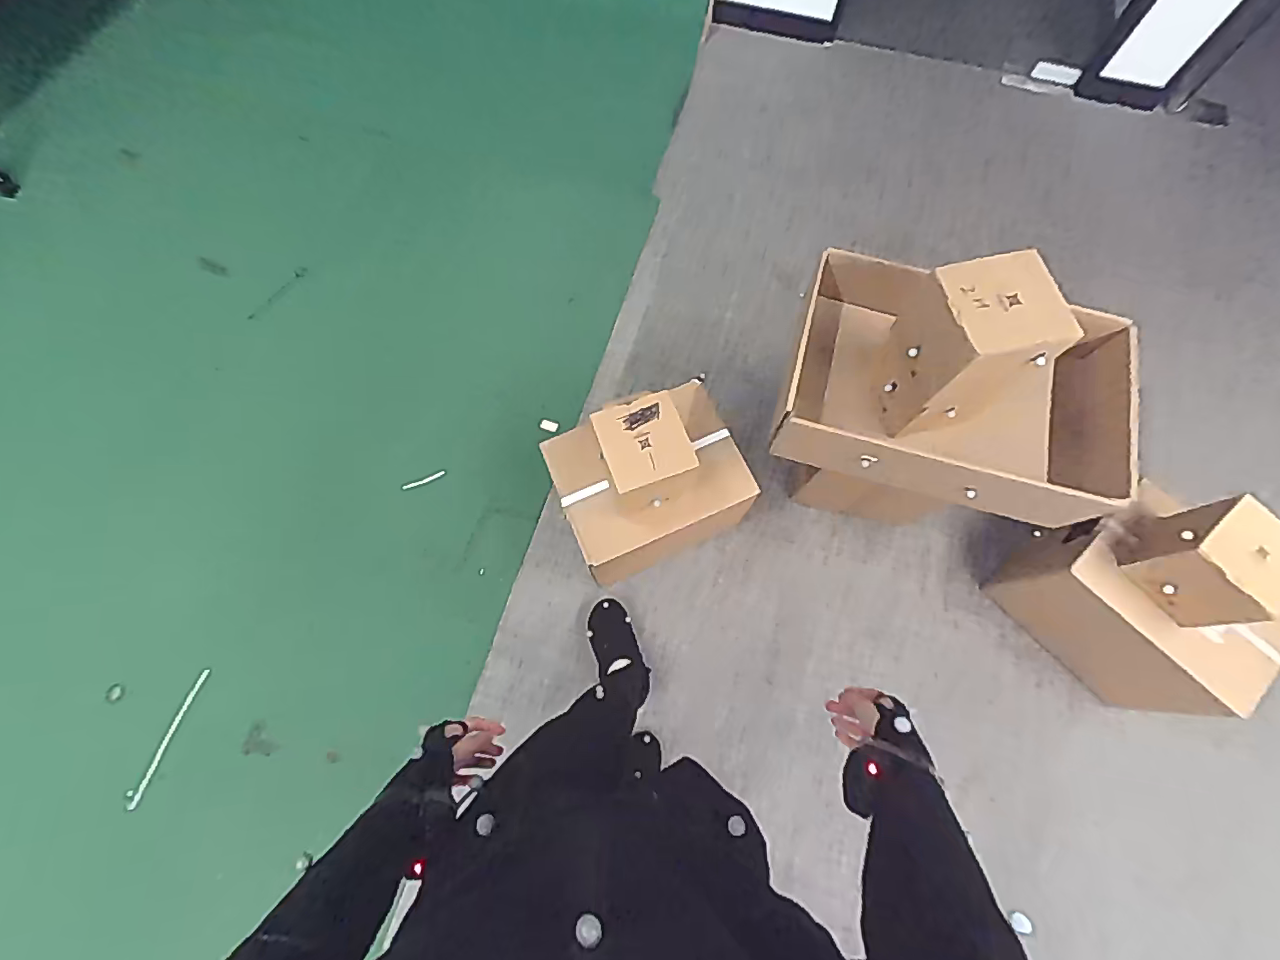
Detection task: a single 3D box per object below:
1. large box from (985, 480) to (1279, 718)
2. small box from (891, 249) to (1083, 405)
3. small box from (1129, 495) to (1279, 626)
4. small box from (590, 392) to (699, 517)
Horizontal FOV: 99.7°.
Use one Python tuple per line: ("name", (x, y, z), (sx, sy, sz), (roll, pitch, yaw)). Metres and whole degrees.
("large box", (1.136, 0.276, 1.259), (0.320, 0.320, 0.408), (-41, 78, -13))
("small box", (0.552, -0.243, 0.889), (0.179, 0.176, 0.168), (-12, 71, -4))
("small box", (1.116, 0.160, 1.041), (0.179, 0.176, 0.168), (-37, 75, -13))
("small box", (0.005, -0.045, 1.099), (0.168, 0.176, 0.179), (-19, 72, -7))
